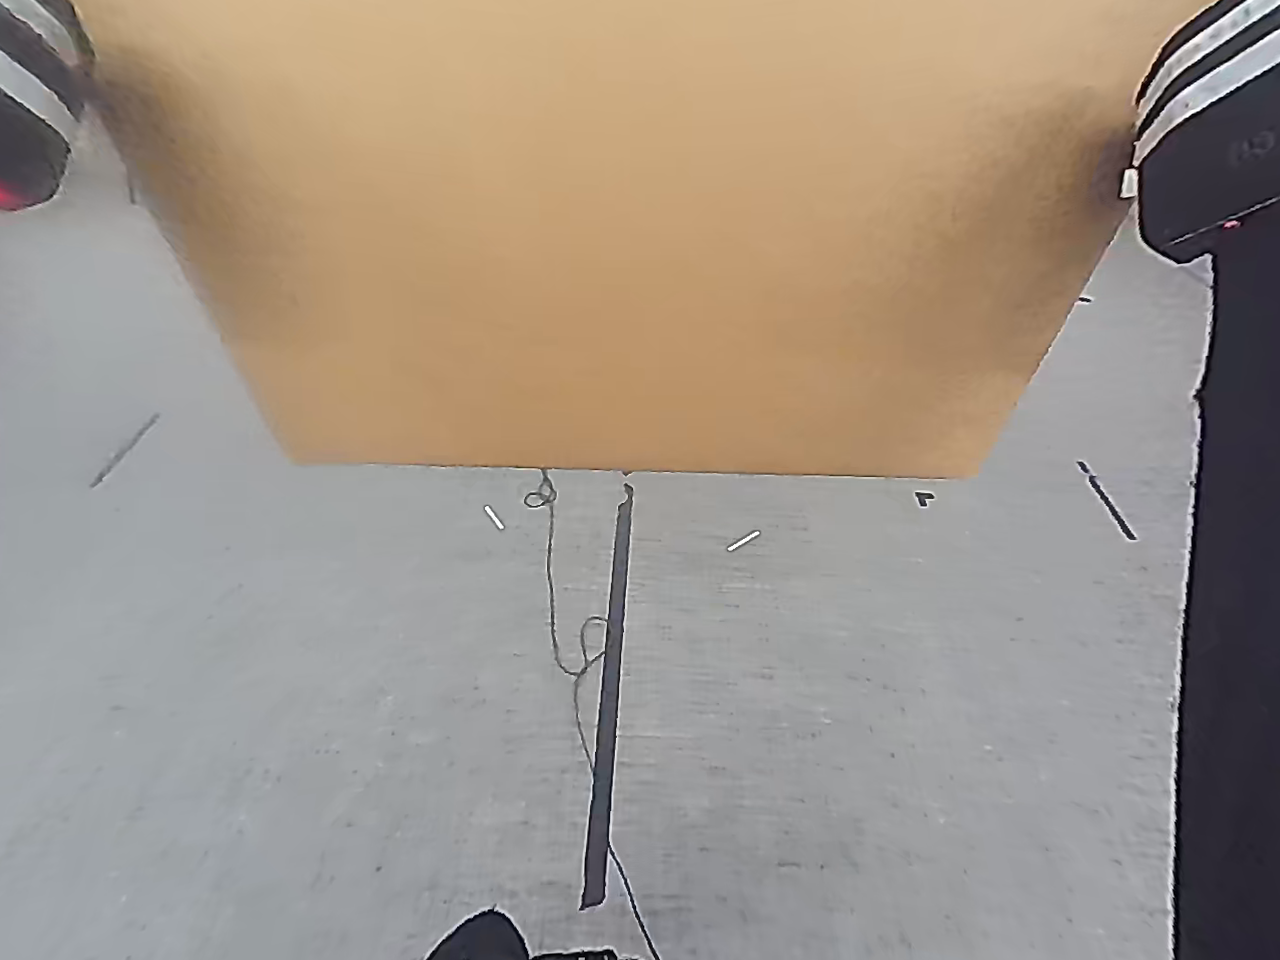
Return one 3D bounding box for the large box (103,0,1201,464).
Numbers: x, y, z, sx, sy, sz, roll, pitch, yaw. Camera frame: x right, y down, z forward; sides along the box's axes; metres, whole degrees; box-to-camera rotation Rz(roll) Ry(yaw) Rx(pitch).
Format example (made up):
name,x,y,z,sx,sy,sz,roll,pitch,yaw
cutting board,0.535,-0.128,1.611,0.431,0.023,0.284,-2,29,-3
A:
name,x,y,z,sx,sy,sz,roll,pitch,yaw
large box,0.001,-0.222,0.342,0.408,0.320,0.320,2,42,-1
